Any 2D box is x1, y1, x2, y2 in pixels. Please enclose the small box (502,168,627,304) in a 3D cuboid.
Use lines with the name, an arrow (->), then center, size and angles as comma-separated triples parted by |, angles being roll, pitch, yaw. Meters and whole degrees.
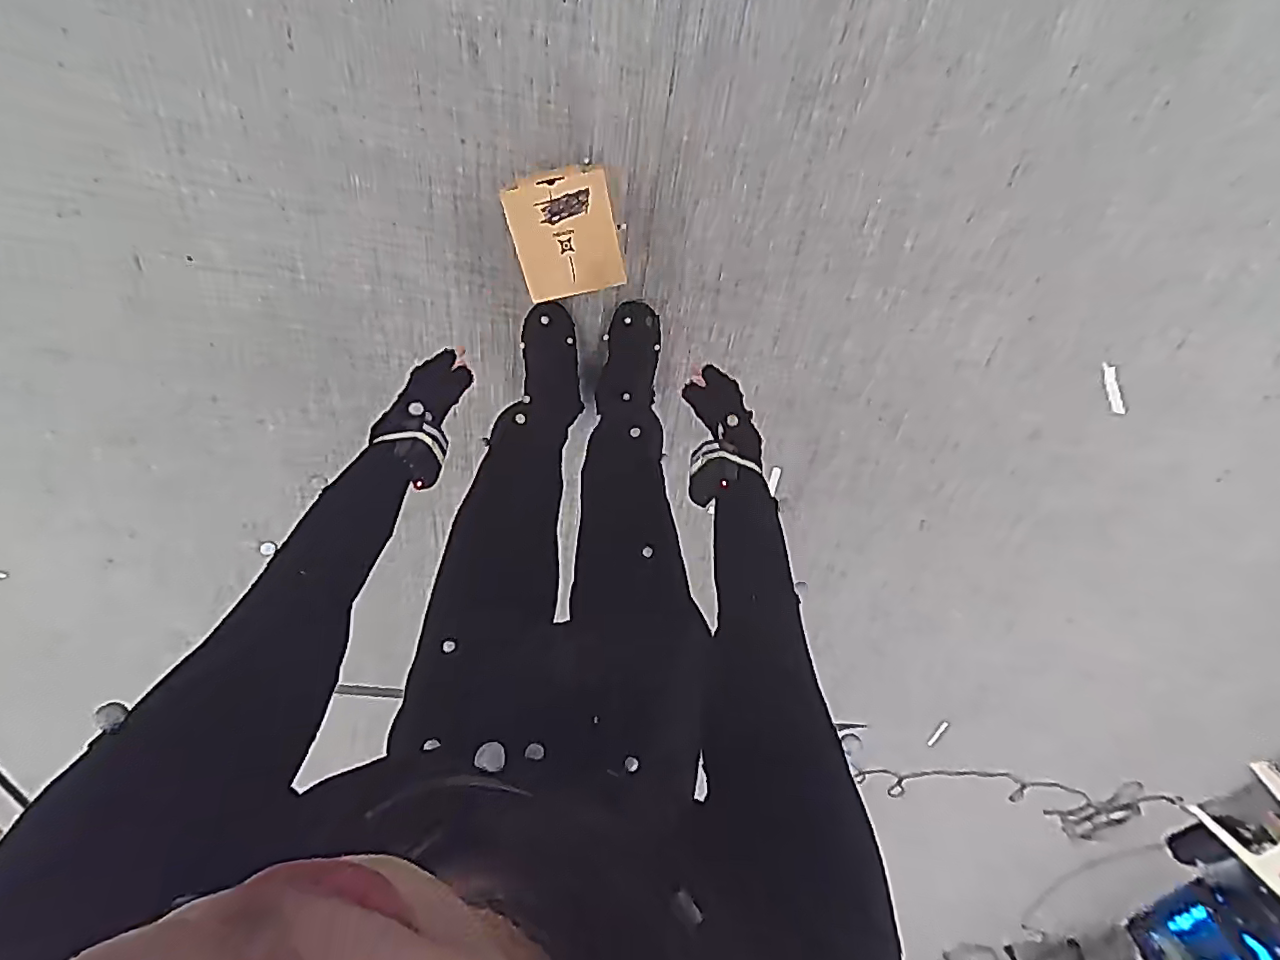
small box -> -0.120, -0.423, 0.925 | 0.168, 0.176, 0.179 | -10, 123, 5
